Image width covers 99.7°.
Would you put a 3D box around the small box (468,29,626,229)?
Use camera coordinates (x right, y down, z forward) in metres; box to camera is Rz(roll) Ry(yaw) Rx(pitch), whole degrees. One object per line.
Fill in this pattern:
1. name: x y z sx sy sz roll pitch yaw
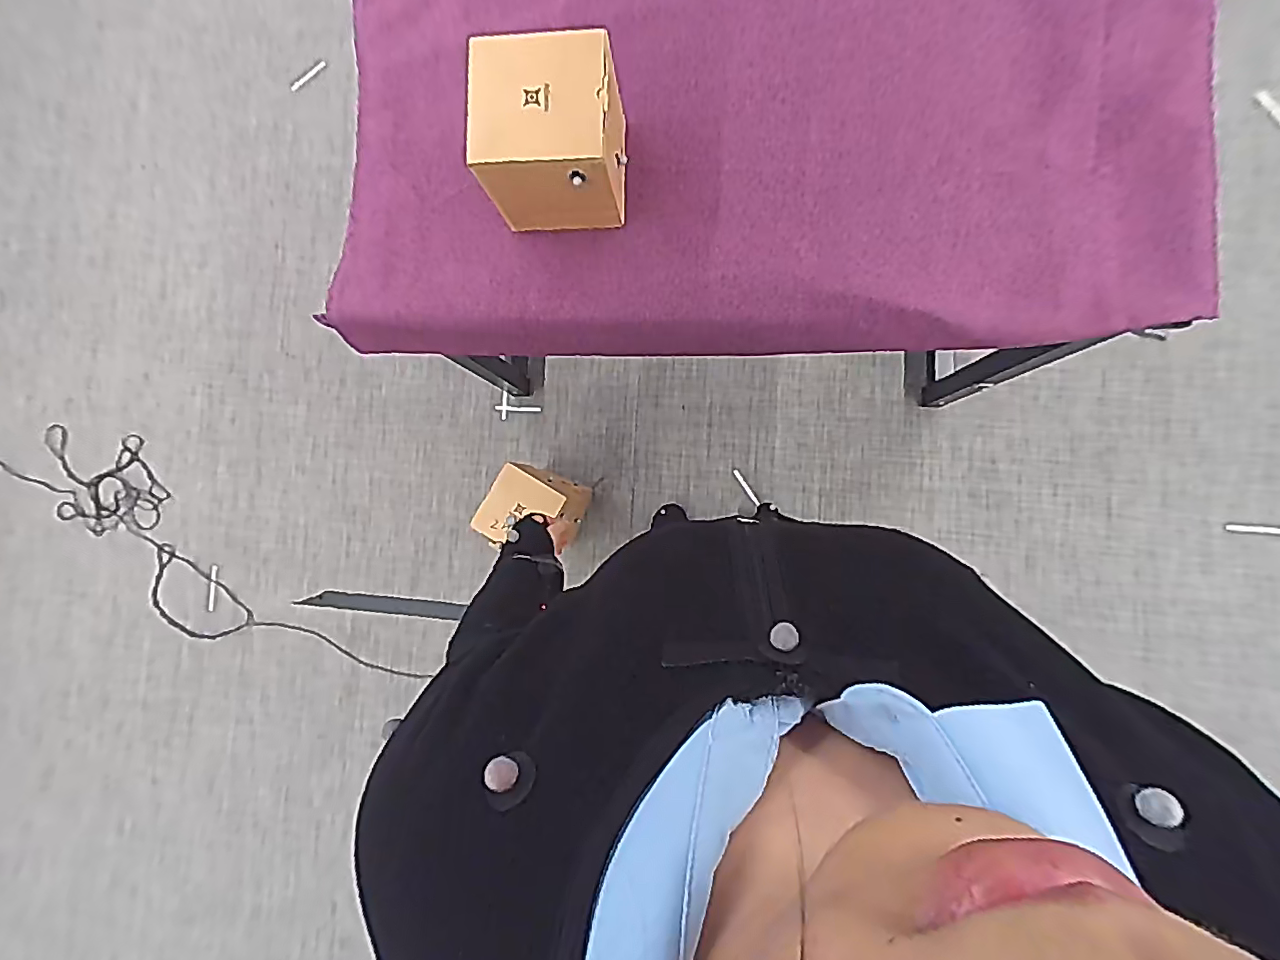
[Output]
1. small box: -0.117 -0.465 0.743 0.179 0.176 0.168 0 87 5

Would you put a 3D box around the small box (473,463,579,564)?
1. small box: -0.263 0.077 1.301 0.168 0.176 0.179 31 92 6
